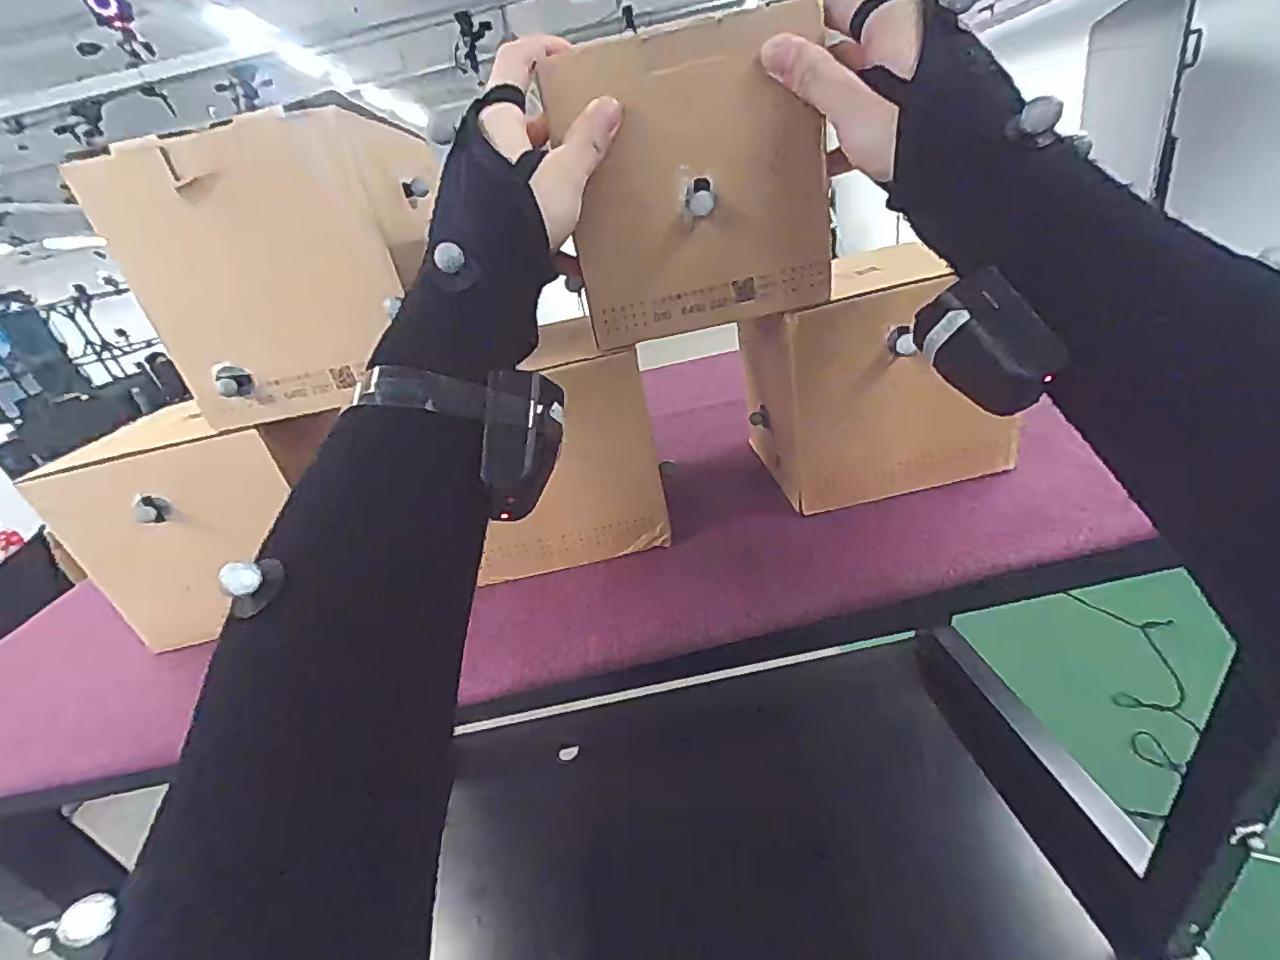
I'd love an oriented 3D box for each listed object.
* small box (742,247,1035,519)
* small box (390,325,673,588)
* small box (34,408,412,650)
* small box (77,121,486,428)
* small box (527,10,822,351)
[{"bbox_3d":[0.194,-0.089,0.471,0.179,0.176,0.168,-14,26,2],"label":"small box"},{"bbox_3d":[-0.078,-0.026,0.475,0.179,0.176,0.168,-12,27,1],"label":"small box"},{"bbox_3d":[-0.341,0.028,0.490,0.179,0.176,0.168,-14,27,0],"label":"small box"},{"bbox_3d":[-0.235,-0.149,0.418,0.168,0.176,0.179,-11,26,3],"label":"small box"},{"bbox_3d":[0.027,-0.204,0.409,0.168,0.176,0.179,-13,27,2],"label":"small box"}]
